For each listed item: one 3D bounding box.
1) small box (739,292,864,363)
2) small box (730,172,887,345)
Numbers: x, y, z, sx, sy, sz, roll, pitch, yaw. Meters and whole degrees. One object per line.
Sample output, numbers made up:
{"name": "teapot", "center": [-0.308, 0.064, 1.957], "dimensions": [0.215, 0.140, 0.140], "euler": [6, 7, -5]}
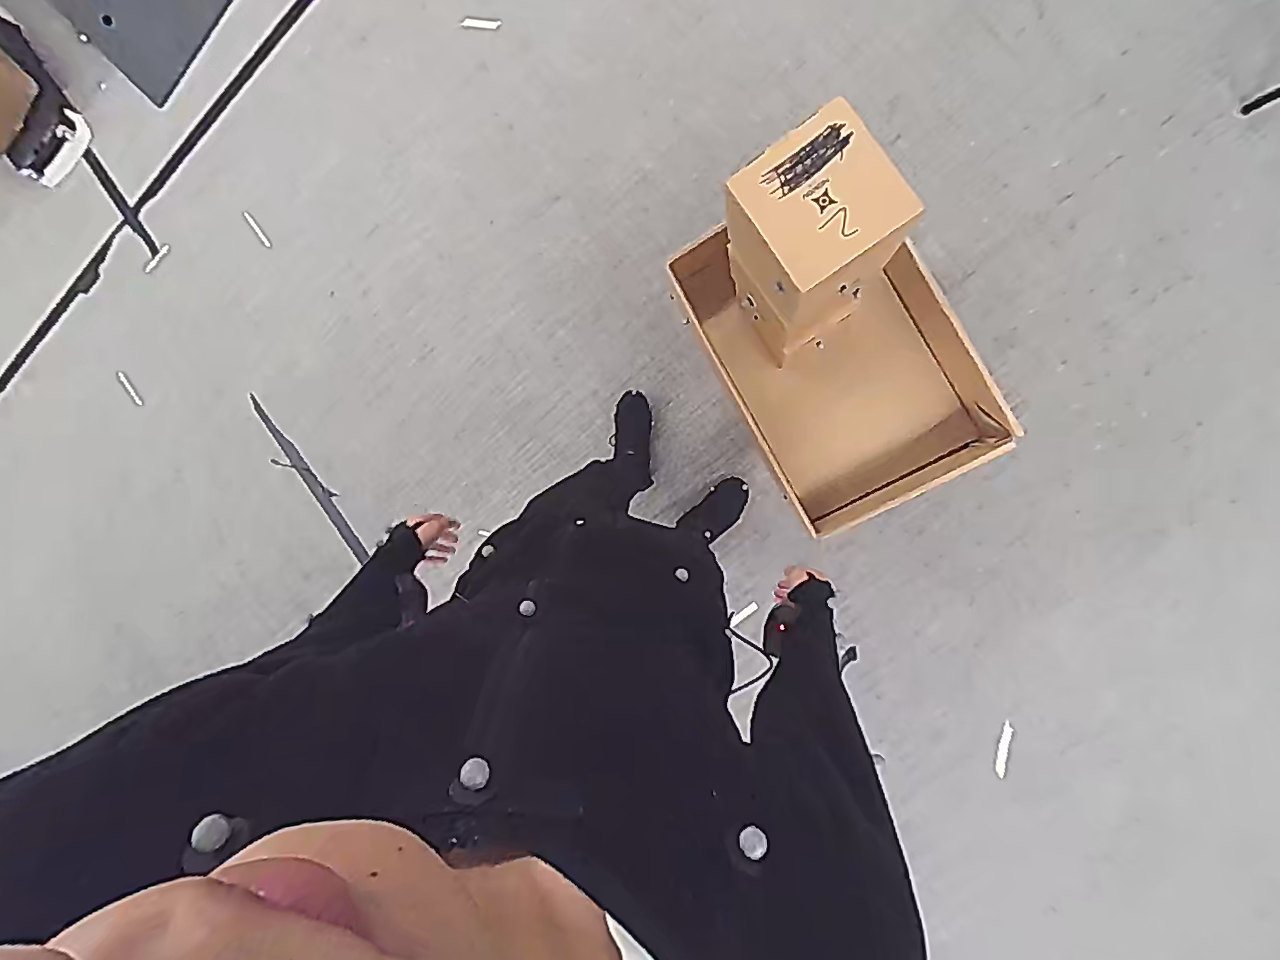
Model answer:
{"name": "small box", "center": [0.300, -0.348, 1.047], "dimensions": [0.168, 0.176, 0.179], "euler": [-32, 87, 12]}
{"name": "small box", "center": [0.263, -0.348, 0.887], "dimensions": [0.179, 0.176, 0.168], "euler": [-34, 85, 11]}
